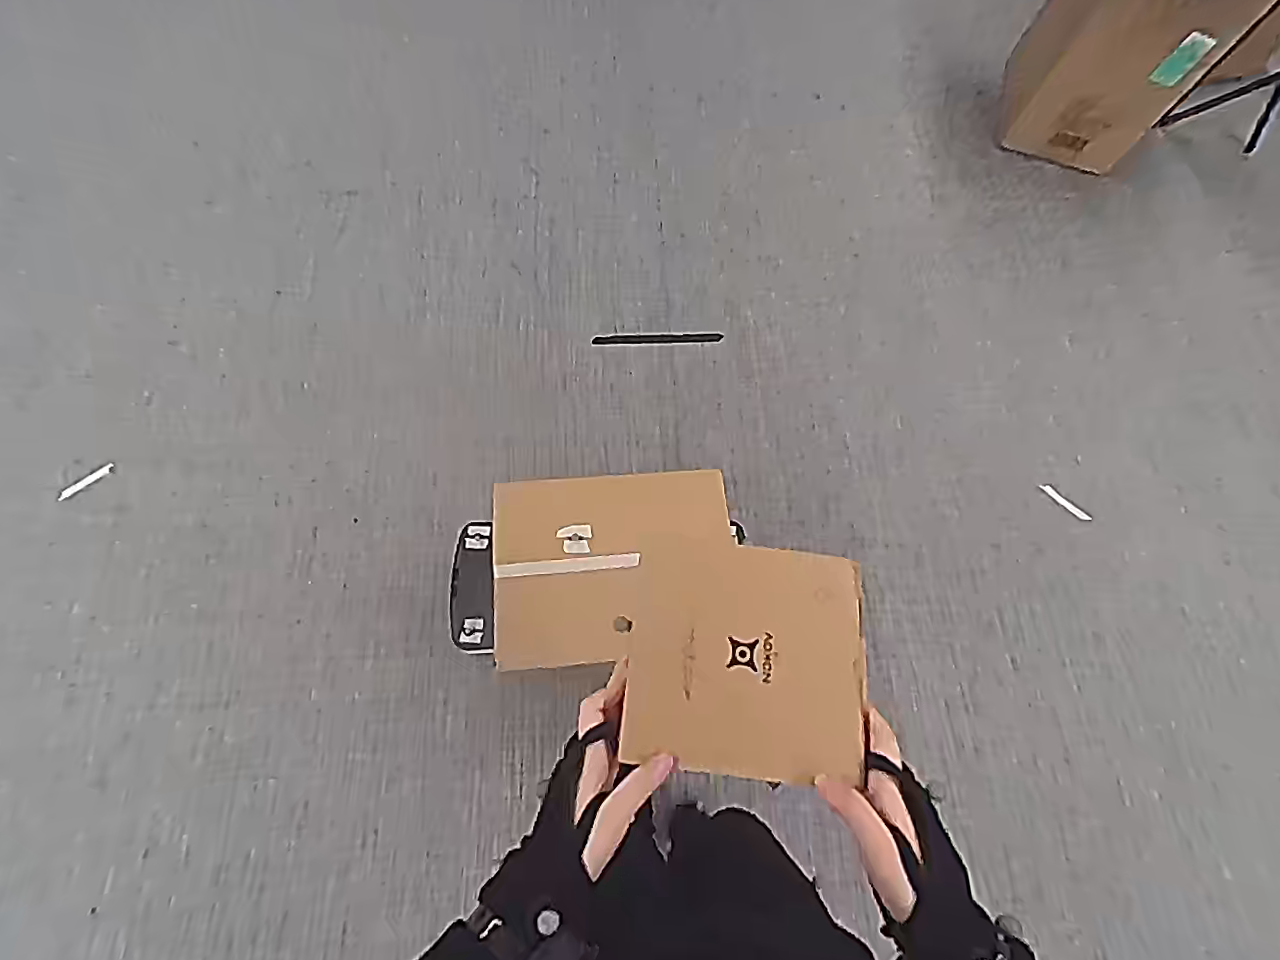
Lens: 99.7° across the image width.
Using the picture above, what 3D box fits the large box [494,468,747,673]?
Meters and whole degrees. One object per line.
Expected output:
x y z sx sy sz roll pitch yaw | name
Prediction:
-0.043 0.185 1.035 0.408 0.320 0.320 -4 70 -4 | large box
